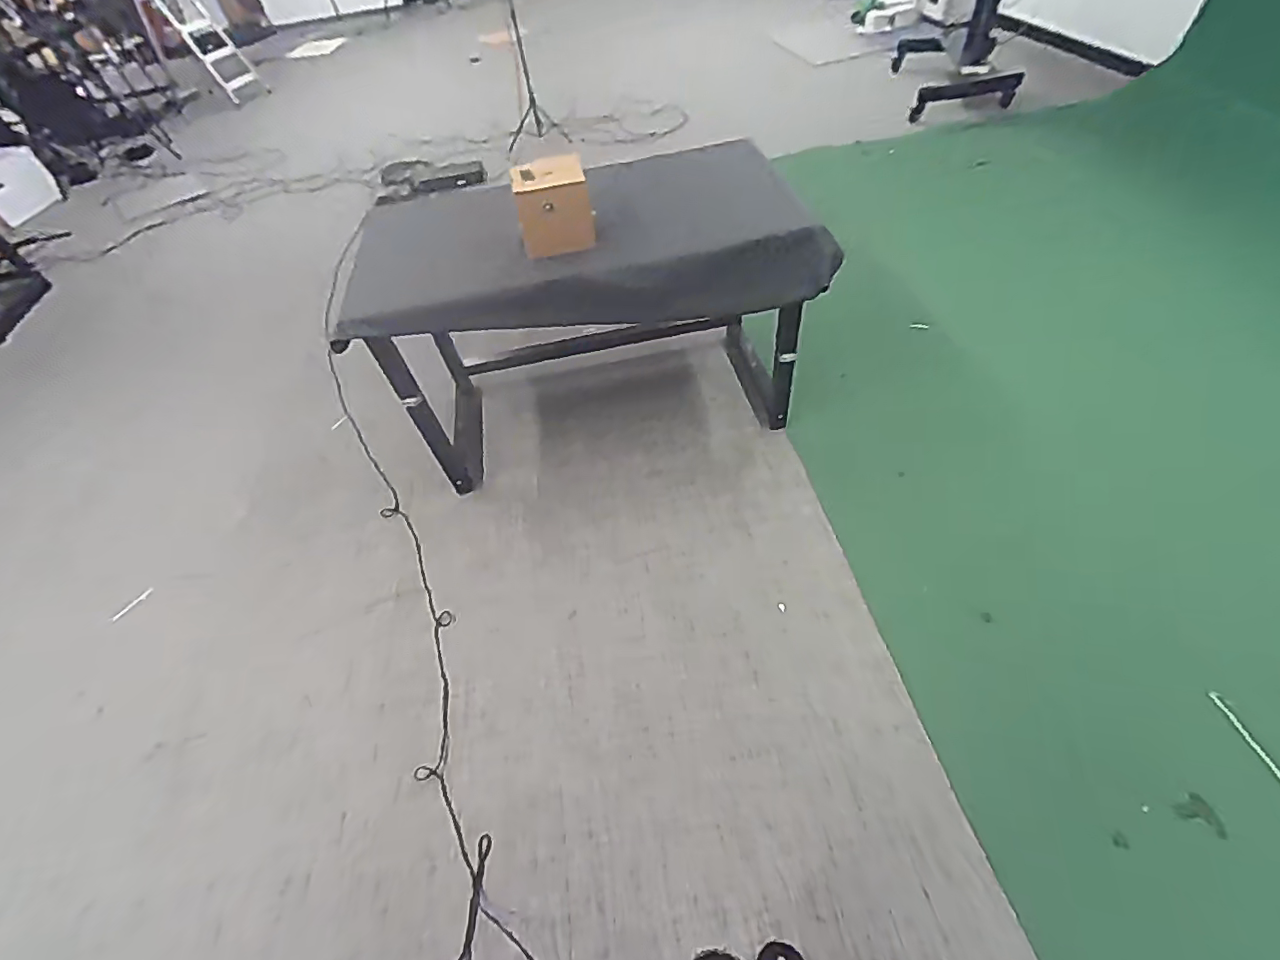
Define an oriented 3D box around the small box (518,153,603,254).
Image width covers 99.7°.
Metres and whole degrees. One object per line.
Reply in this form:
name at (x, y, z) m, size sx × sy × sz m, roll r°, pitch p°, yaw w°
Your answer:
small box at (-0.199, -0.696, 1.372) m, size 0.179 × 0.176 × 0.168 m, roll -12°, pitch 51°, yaw -2°
